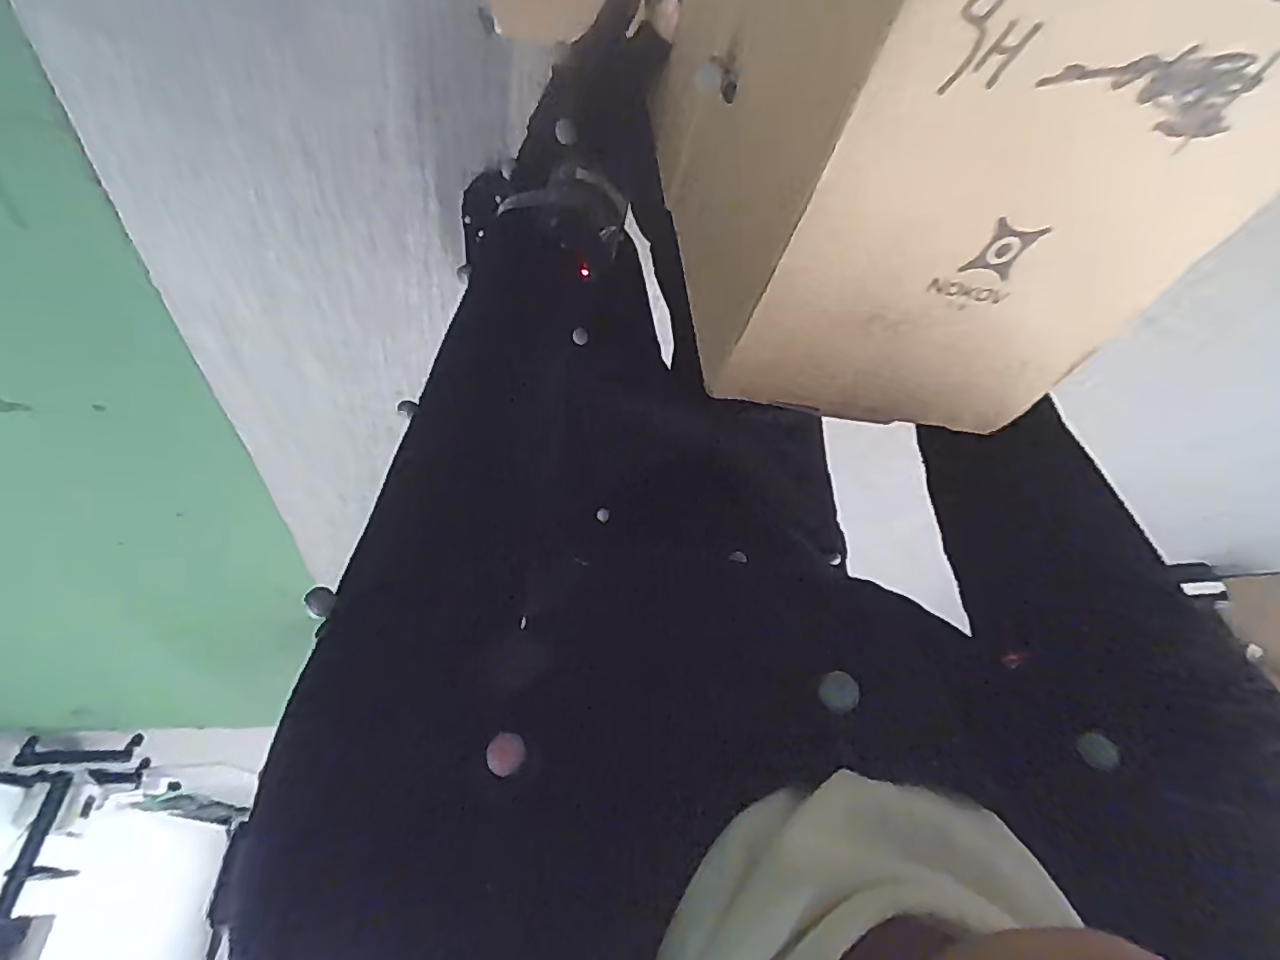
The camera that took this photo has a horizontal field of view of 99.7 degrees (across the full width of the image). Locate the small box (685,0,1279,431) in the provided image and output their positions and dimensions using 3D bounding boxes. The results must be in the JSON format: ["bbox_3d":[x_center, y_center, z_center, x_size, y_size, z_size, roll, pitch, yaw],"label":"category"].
[{"bbox_3d":[0.123,-0.149,0.254,0.168,0.176,0.179,5,146,-12],"label":"small box"}]
